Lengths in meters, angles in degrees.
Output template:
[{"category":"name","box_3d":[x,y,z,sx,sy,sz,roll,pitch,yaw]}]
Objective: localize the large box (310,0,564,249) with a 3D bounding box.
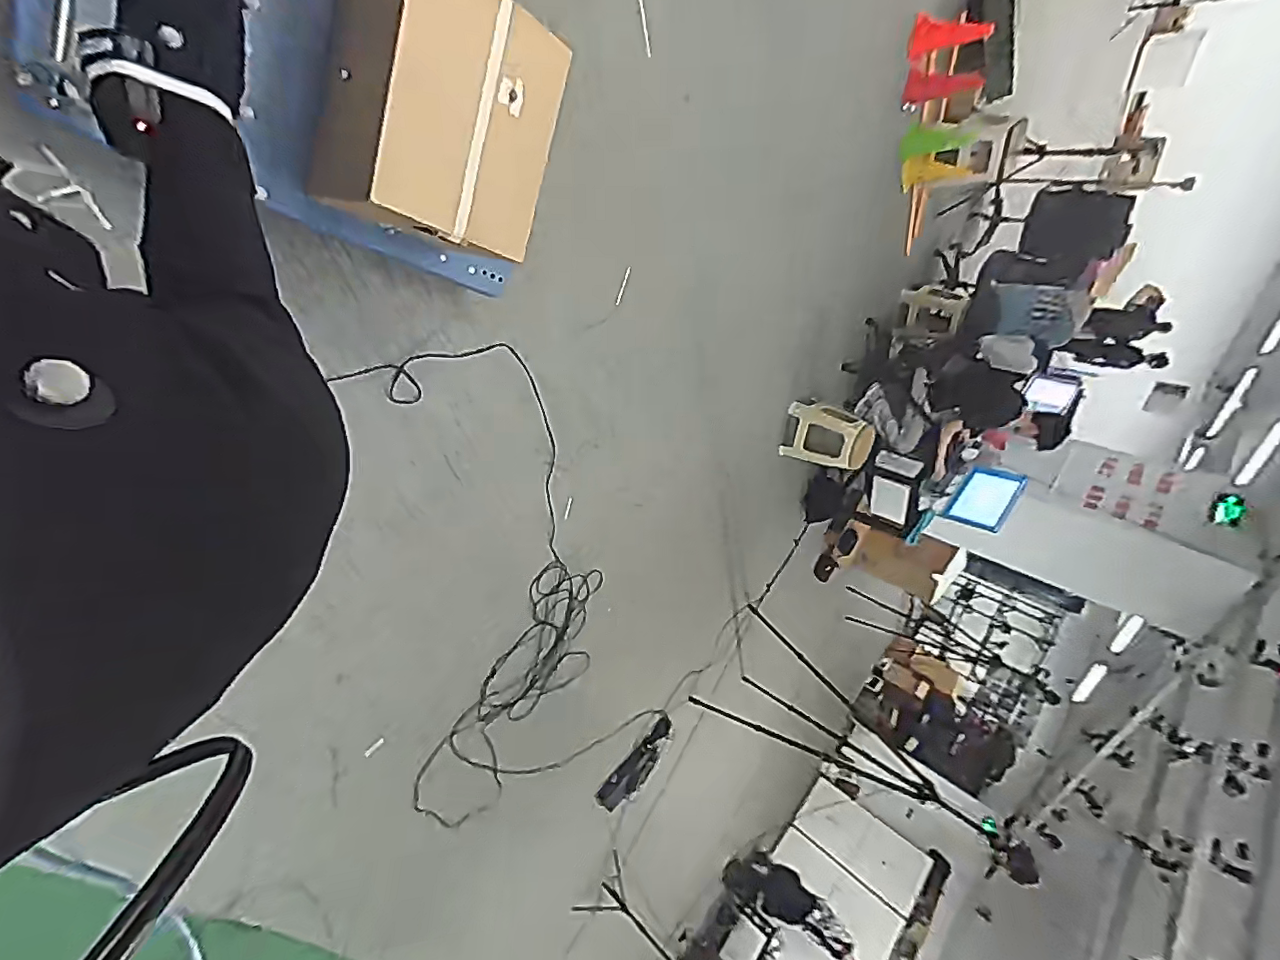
[{"category":"large box","box_3d":[-0.400,-0.709,1.045,0.320,0.320,0.408,2,108,-51]}]
